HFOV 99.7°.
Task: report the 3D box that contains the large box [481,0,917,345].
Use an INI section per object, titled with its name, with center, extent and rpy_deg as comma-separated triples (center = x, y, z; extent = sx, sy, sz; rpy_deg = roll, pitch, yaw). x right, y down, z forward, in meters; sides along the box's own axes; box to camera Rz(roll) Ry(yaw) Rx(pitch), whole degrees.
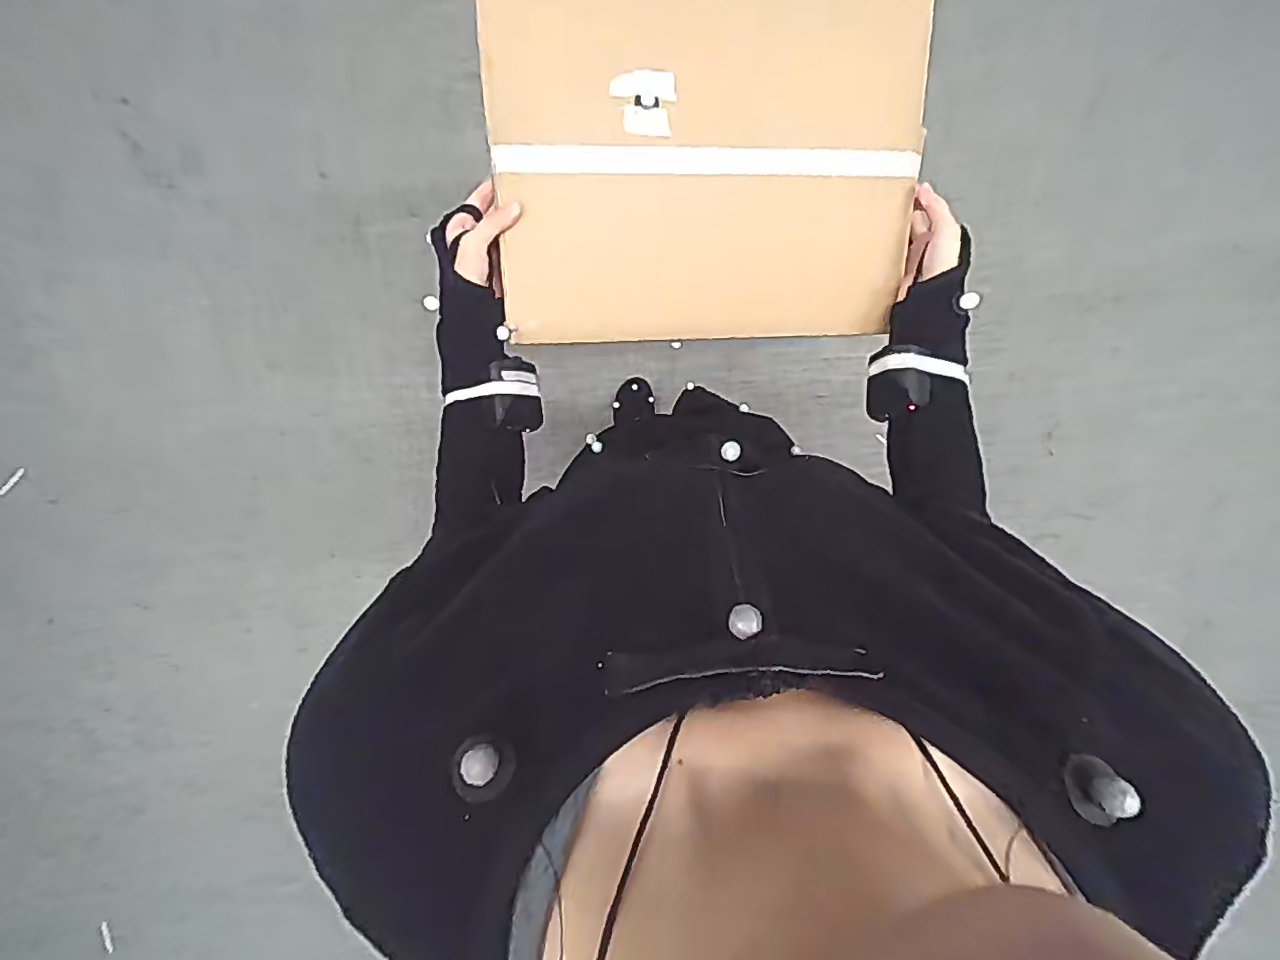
[large box]
center = 0.046, -0.339, 0.660
extent = 0.408, 0.320, 0.320
rpy_deg = -3, 107, -8
